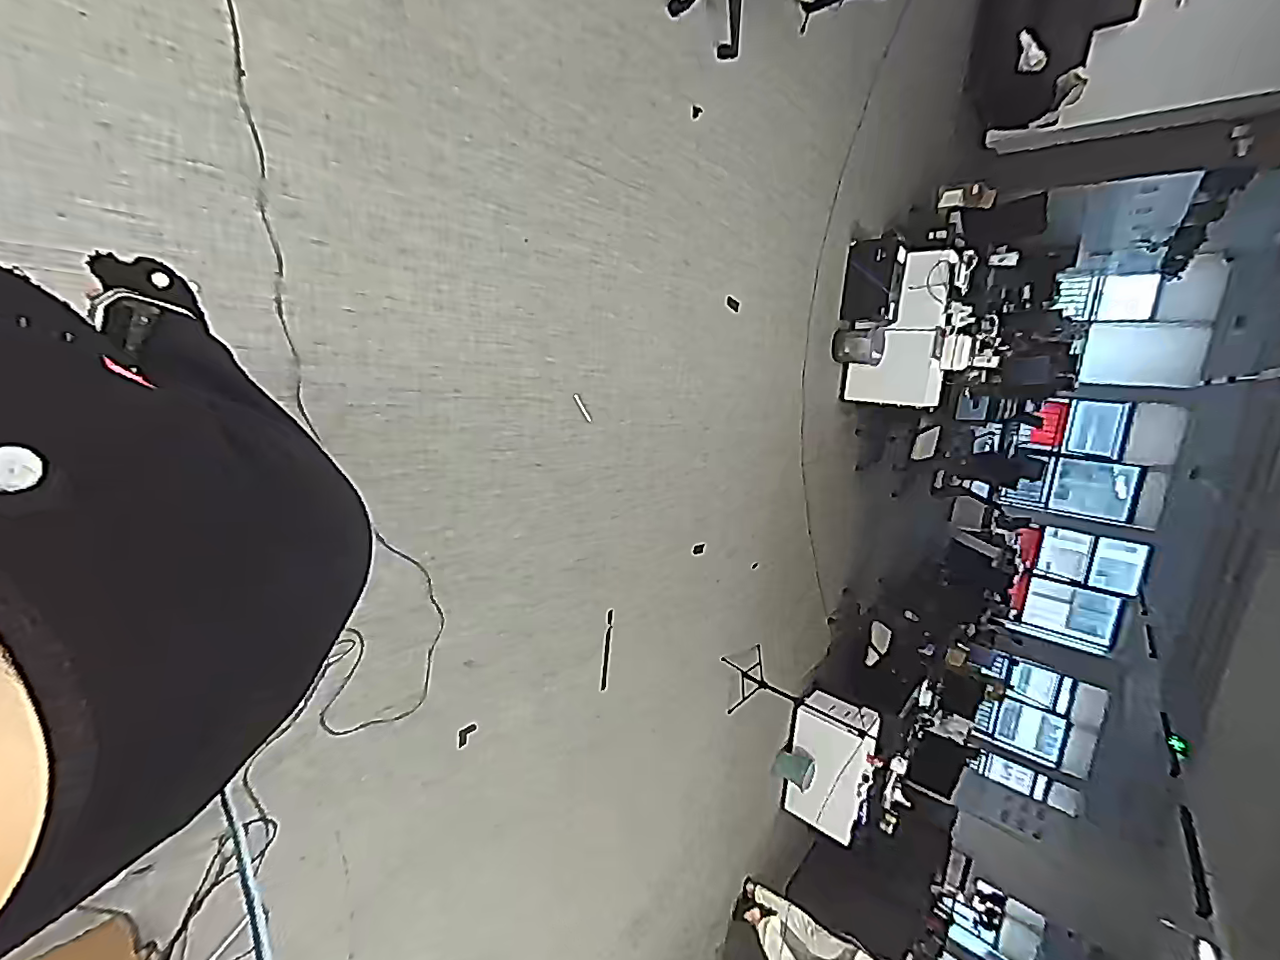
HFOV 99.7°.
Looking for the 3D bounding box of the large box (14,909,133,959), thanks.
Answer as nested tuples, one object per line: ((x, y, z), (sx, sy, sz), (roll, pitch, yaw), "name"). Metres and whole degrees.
((-1.245, 1.188, 1.048), (0.408, 0.320, 0.320), (-9, 108, -50), "large box")
